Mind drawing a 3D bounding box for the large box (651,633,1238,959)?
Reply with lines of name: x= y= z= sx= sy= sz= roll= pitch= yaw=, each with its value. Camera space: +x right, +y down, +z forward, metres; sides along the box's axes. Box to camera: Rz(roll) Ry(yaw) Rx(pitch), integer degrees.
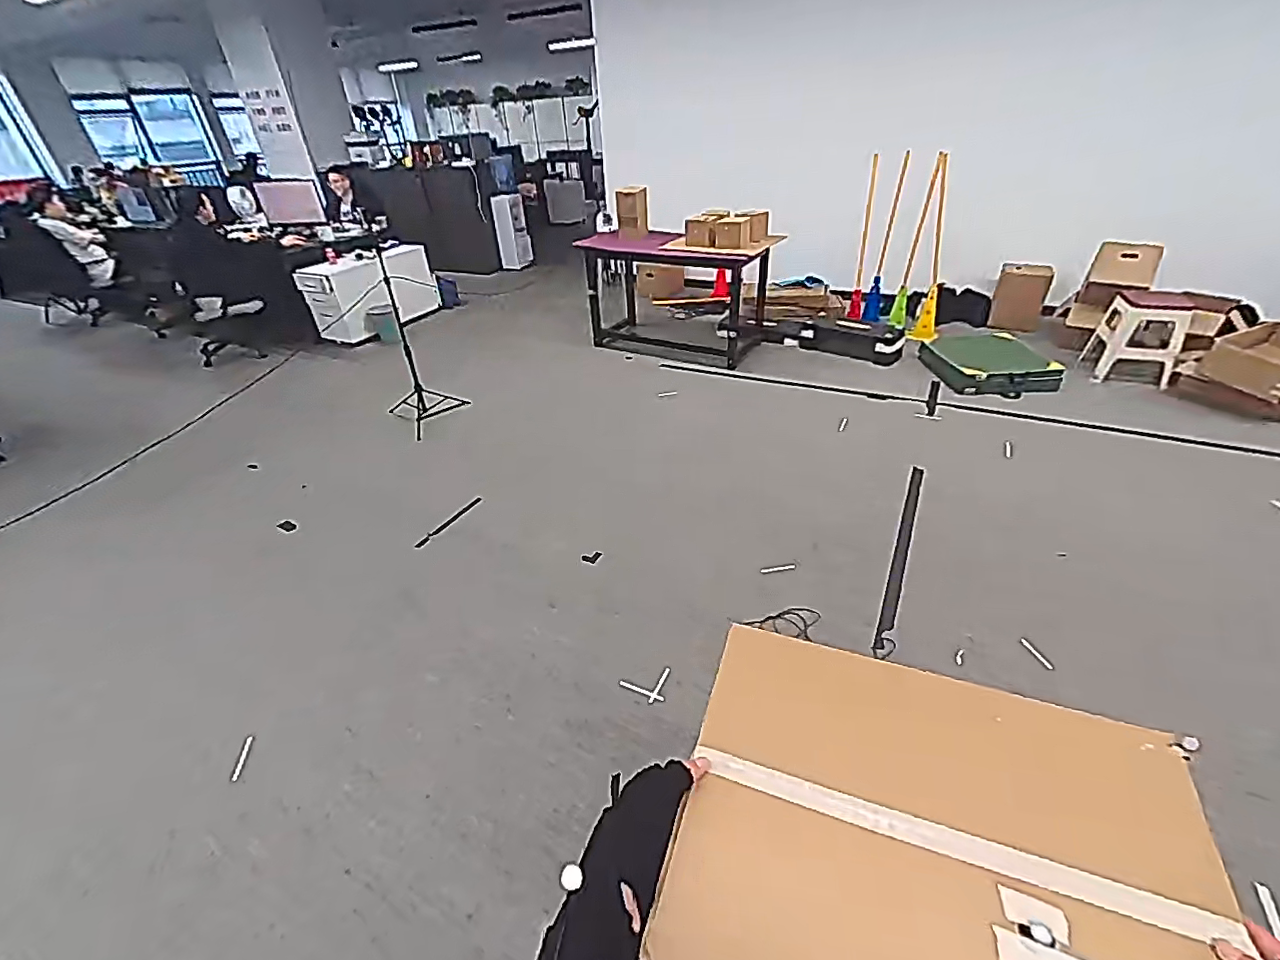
large box: x=0.253 y=0.414 z=0.548 sx=0.408 sy=0.320 sz=0.320 roll=11 pitch=43 yaw=19
